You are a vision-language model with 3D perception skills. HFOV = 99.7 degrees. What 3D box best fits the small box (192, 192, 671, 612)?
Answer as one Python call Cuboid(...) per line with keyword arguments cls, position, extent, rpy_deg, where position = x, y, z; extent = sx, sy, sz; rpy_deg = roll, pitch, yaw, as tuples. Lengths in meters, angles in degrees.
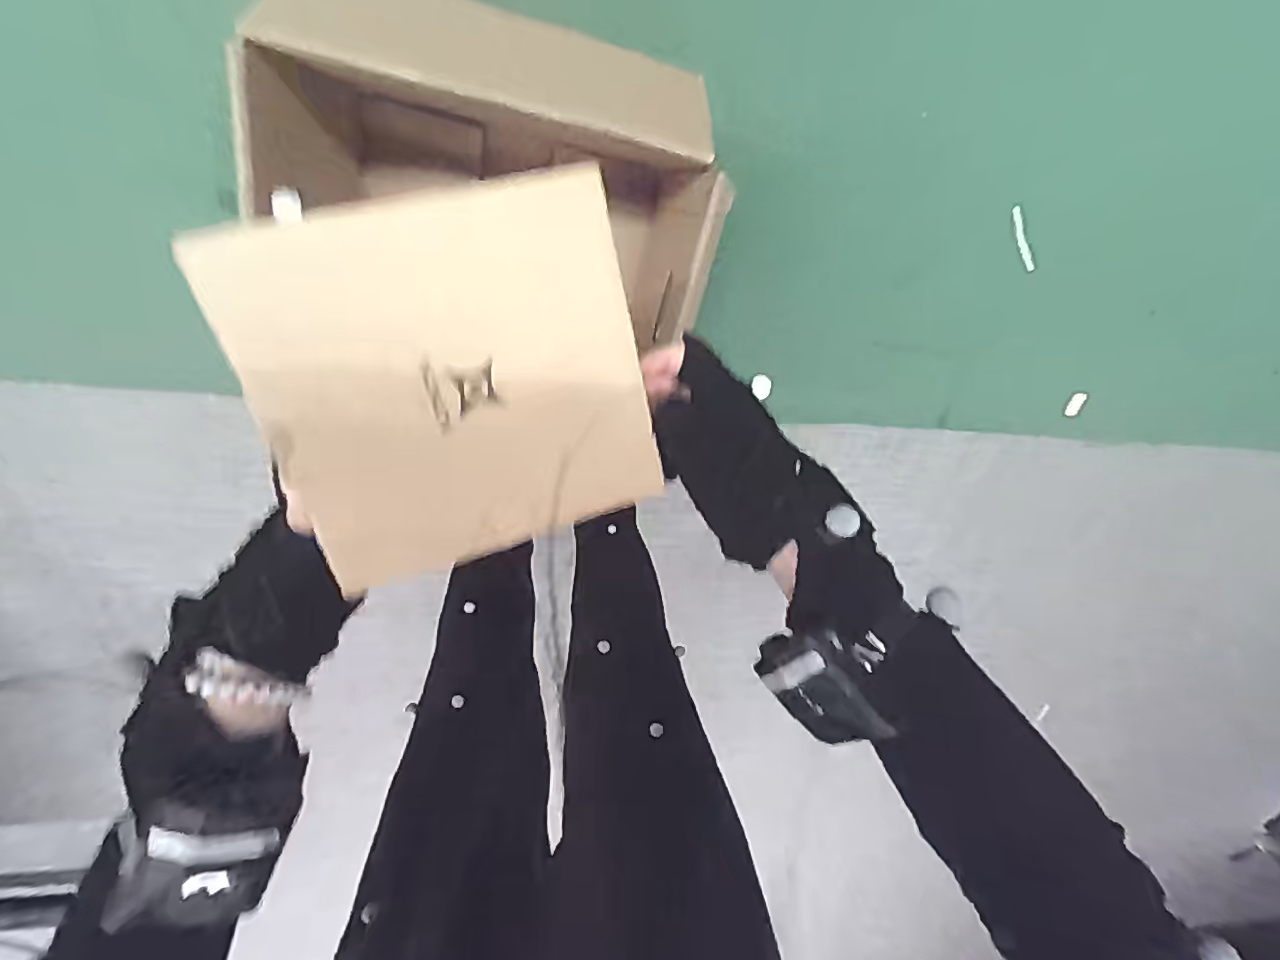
Cuboid(cls="small box", position=(-0.104, -0.058, 0.327), extent=(0.179, 0.176, 0.168), rpy_deg=(-19, 112, -13))
